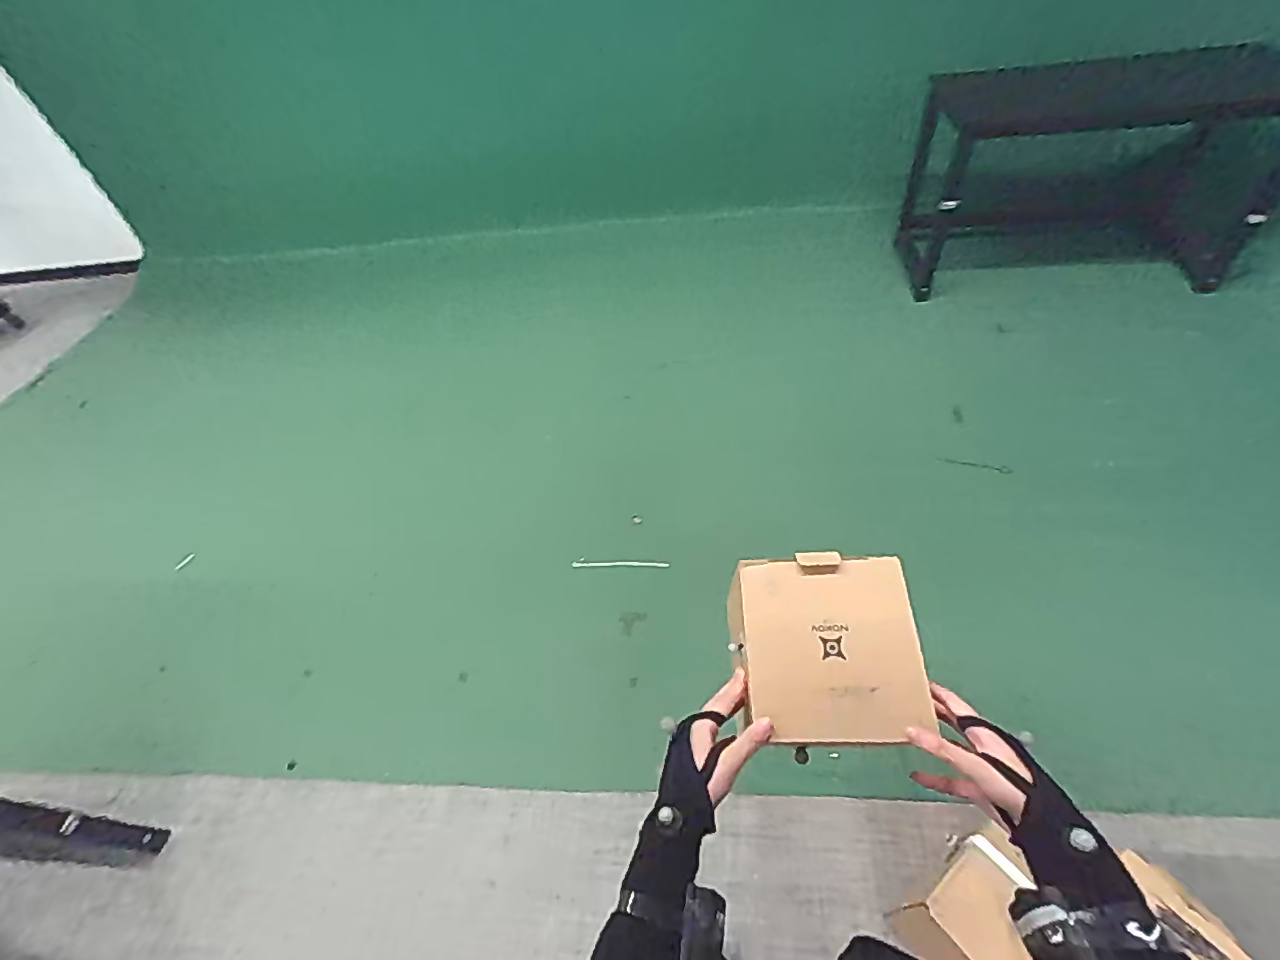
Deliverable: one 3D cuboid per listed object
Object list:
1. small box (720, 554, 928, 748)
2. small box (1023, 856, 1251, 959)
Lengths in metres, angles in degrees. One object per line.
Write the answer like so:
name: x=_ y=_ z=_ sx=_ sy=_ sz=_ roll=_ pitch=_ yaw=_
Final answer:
small box: x=0.178 y=0.191 z=0.587 sx=0.168 sy=0.176 sz=0.179 roll=-2 pitch=63 yaw=4
small box: x=0.695 y=0.677 z=0.765 sx=0.179 sy=0.176 sz=0.168 roll=-31 pitch=51 yaw=-17
